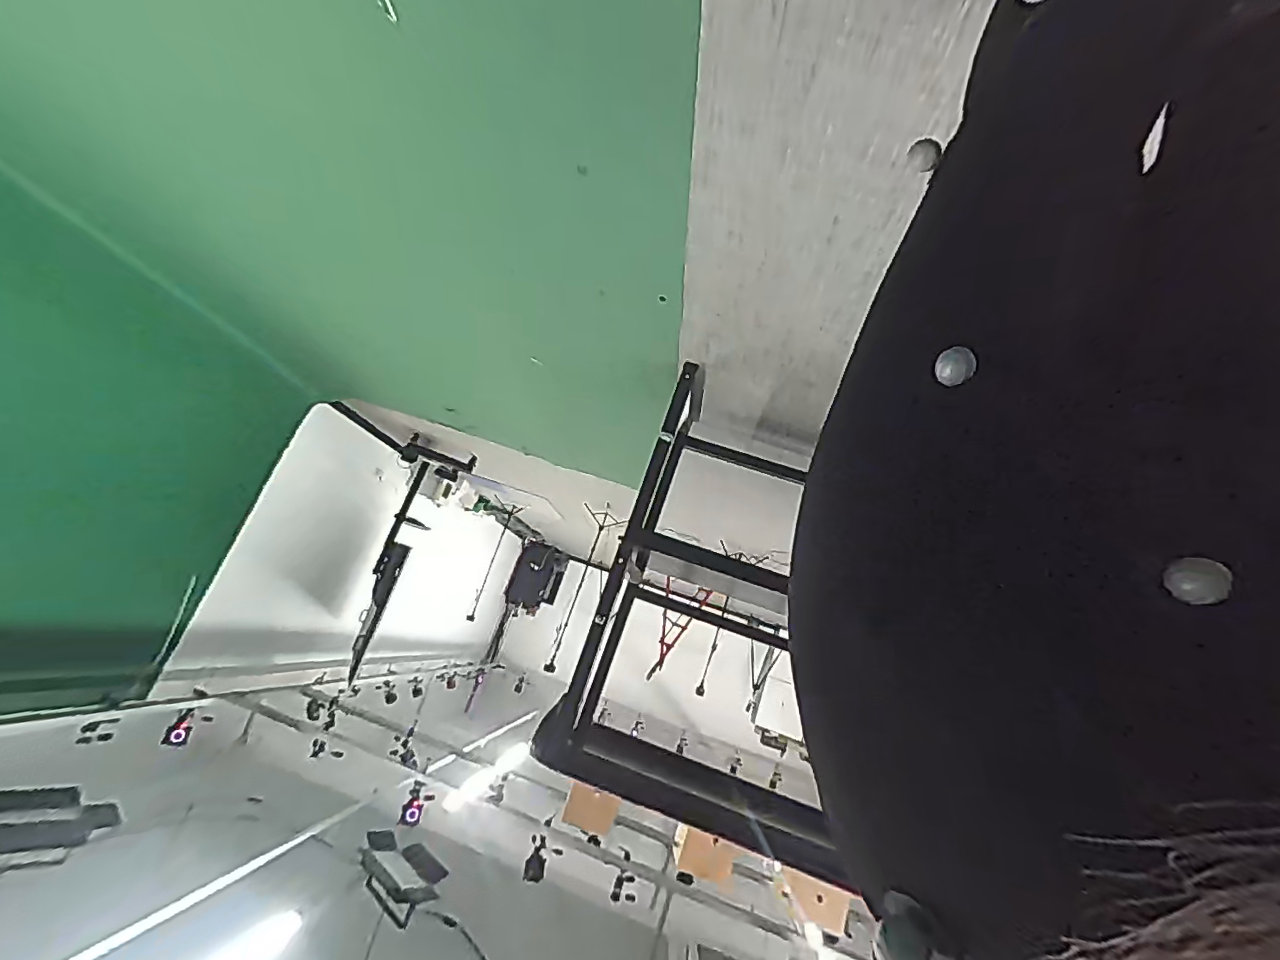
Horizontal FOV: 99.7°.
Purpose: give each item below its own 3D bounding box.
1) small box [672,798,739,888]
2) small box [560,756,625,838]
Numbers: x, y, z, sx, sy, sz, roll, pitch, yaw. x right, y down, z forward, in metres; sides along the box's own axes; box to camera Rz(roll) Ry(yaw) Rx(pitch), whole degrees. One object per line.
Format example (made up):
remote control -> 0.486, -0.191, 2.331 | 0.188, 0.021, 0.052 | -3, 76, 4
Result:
small box -> 0.212, 1.164, 1.755 | 0.168, 0.176, 0.179 | 19, 166, 5
small box -> -0.152, 1.045, 1.803 | 0.168, 0.176, 0.179 | 19, 164, 3
